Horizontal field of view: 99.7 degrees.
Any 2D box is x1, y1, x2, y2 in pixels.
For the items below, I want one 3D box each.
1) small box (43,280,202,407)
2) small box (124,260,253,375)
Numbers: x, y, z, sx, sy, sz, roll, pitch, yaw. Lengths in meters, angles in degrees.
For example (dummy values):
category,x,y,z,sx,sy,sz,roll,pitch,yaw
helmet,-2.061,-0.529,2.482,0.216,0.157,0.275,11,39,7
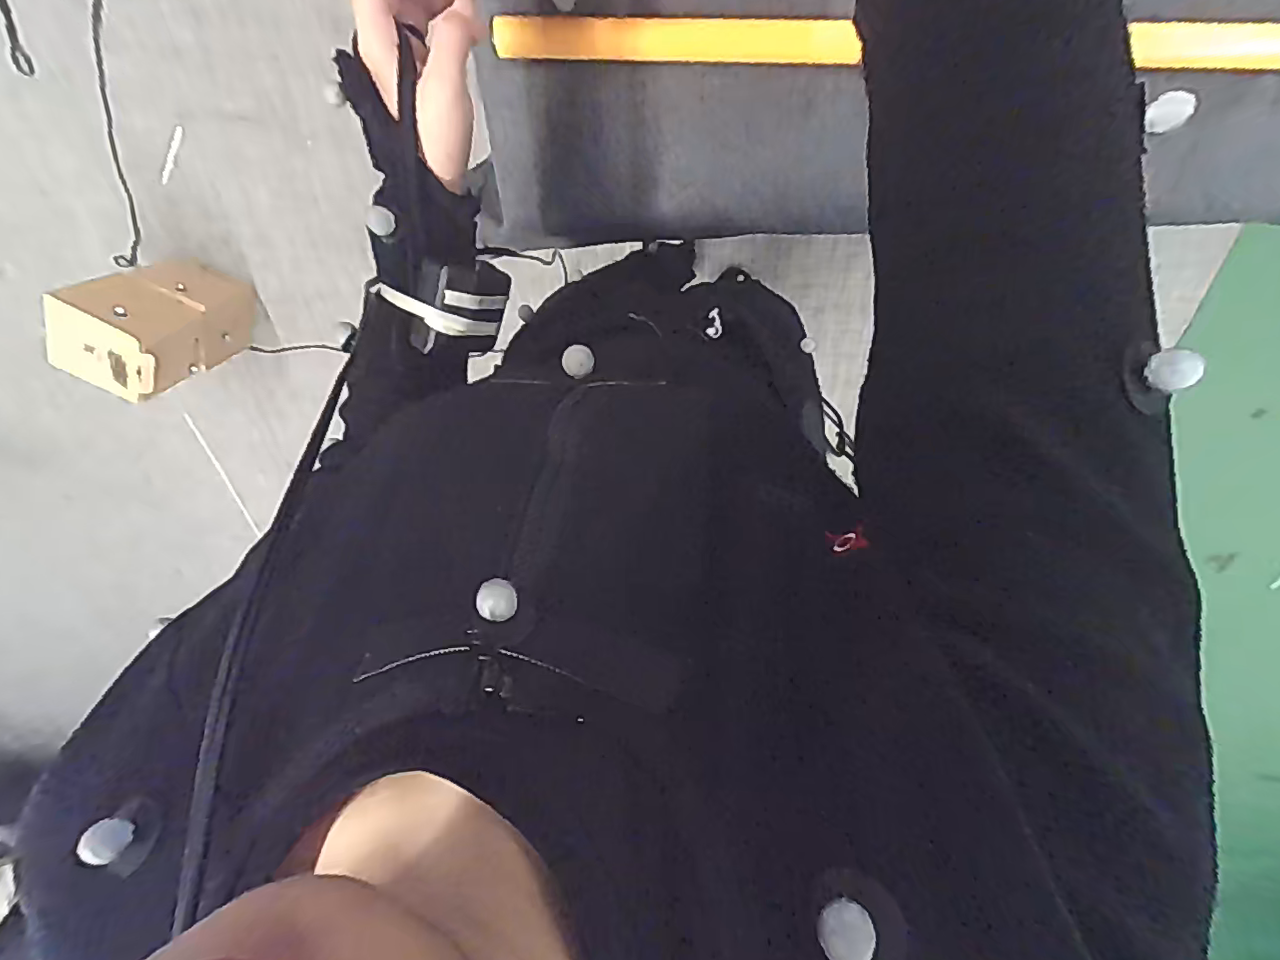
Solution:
category,x,y,z,sx,sy,sz,roll,pitch,yaw
small box,-1.066,-0.290,1.128,0.179,0.176,0.168,28,121,-13
small box,-1.043,-0.382,1.263,0.168,0.176,0.179,24,123,-11
